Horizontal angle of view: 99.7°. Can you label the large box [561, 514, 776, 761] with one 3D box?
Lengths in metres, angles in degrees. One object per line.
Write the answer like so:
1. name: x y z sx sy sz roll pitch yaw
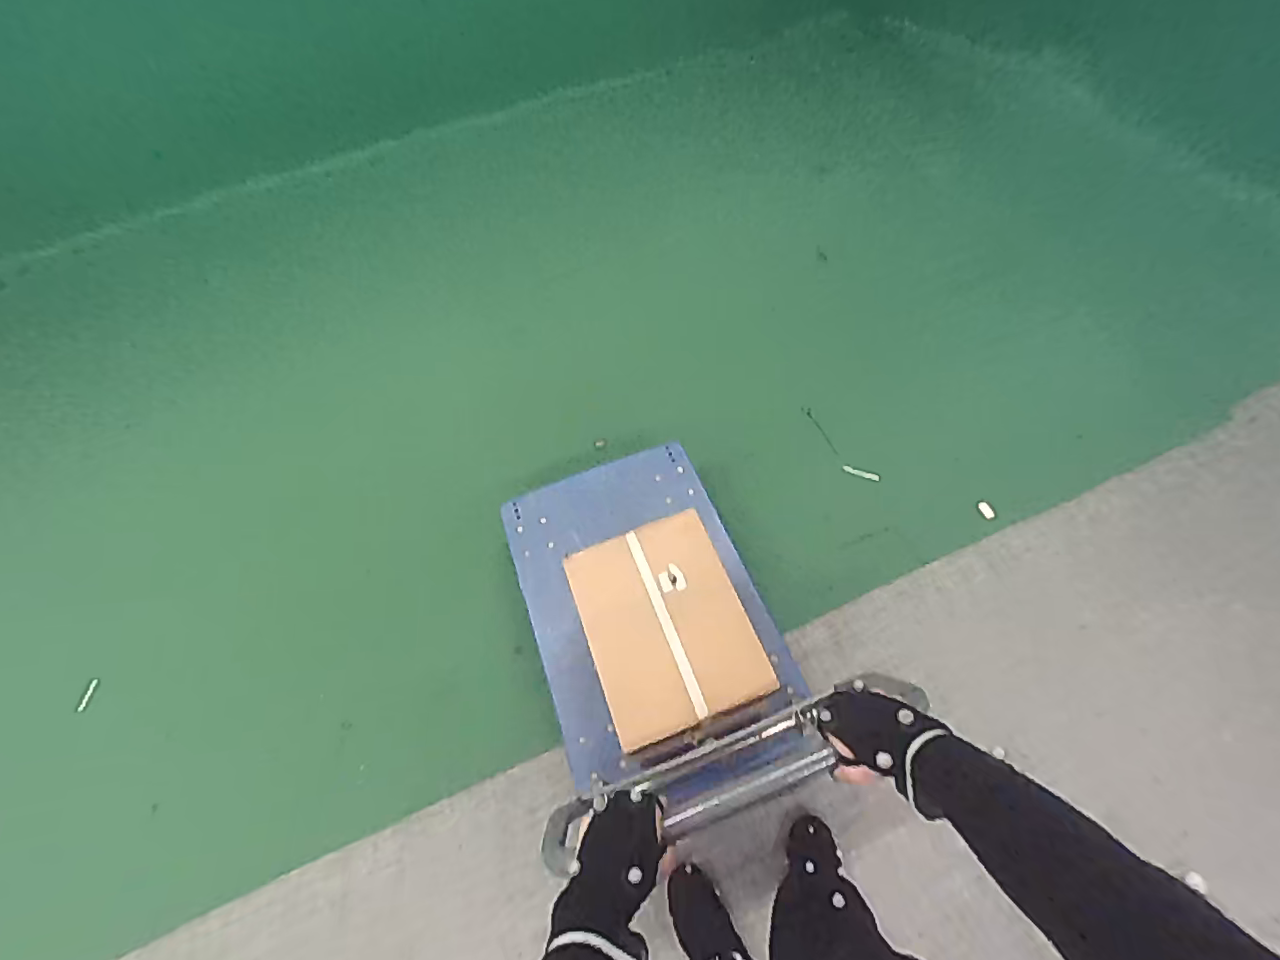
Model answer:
1. large box: 0.057 0.358 1.210 0.320 0.320 0.408 -20 60 -7
